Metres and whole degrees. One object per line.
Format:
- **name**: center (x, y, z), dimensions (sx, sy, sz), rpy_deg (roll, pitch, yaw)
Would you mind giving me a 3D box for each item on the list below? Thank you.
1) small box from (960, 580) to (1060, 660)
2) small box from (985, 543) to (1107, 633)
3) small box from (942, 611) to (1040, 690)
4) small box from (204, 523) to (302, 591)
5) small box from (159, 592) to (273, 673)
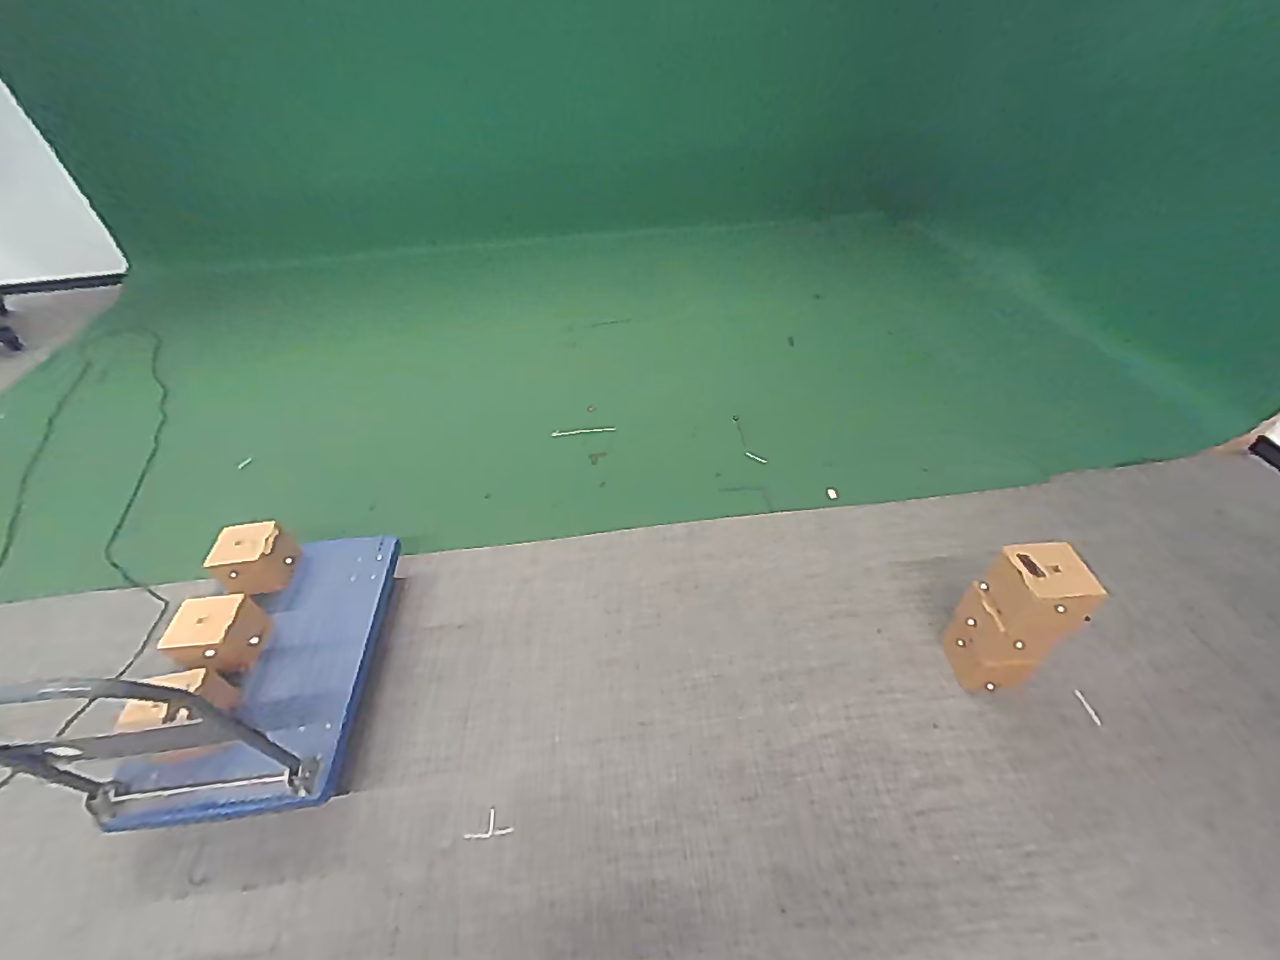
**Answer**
- **small box**: center (1.041, 0.397, 1.534), dimensions (0.179, 0.176, 0.168), rpy_deg (-4, 44, 2)
- **small box**: center (1.041, 0.284, 1.412), dimensions (0.179, 0.176, 0.168), rpy_deg (-4, 44, 0)
- **small box**: center (1.054, 0.517, 1.644), dimensions (0.168, 0.176, 0.179), rpy_deg (-3, 44, 2)
- **small box**: center (-1.274, 0.259, 1.794), dimensions (0.179, 0.176, 0.168), rpy_deg (-1, 48, 1)
- **small box**: center (-1.243, 0.455, 1.602), dimensions (0.179, 0.176, 0.168), rpy_deg (-5, 44, -3)
